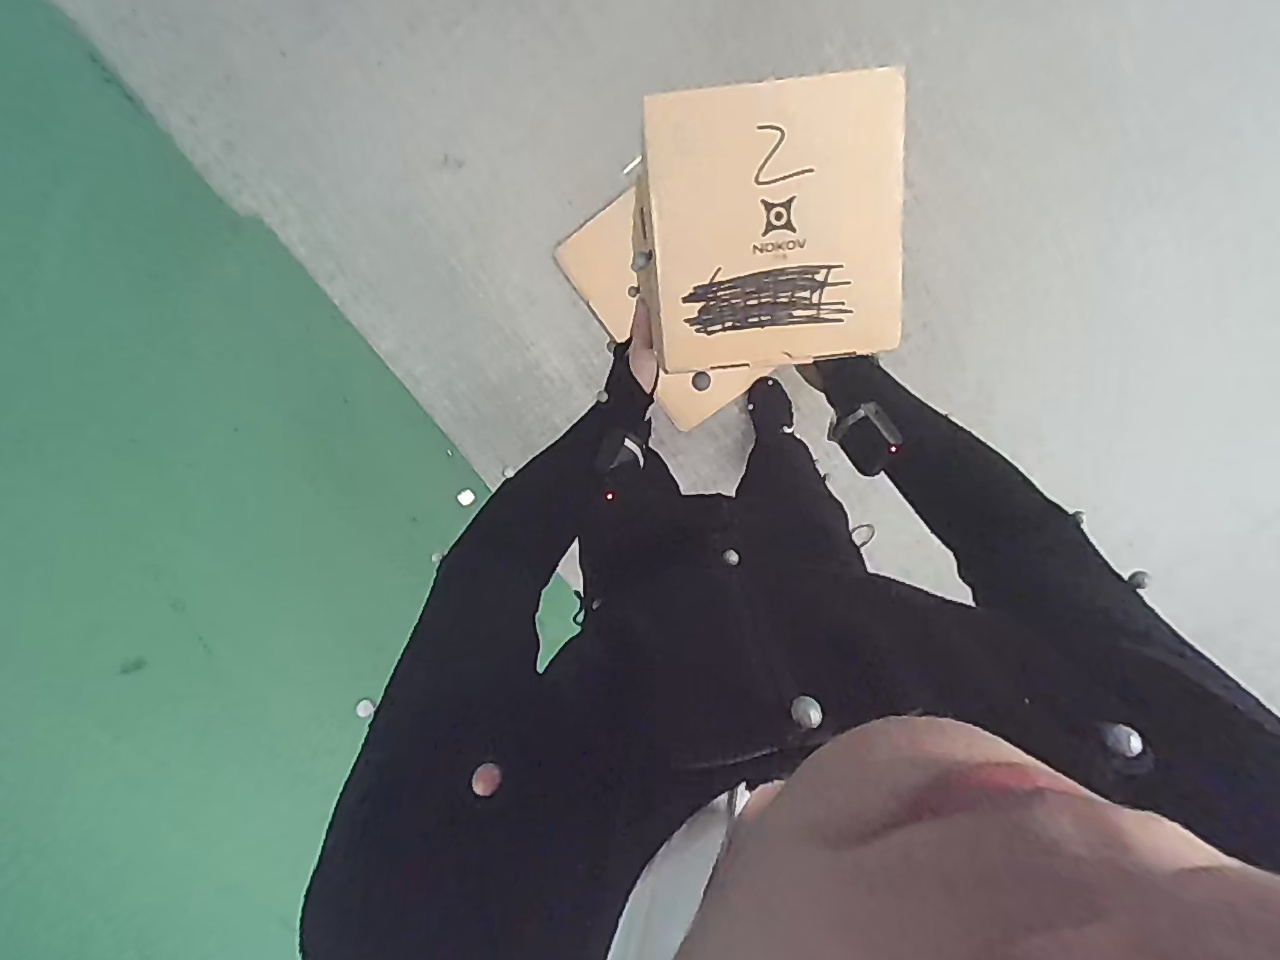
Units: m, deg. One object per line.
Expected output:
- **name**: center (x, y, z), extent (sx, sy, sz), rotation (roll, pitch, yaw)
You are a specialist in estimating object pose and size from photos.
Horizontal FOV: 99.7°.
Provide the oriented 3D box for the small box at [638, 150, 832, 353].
- **small box**: center (0.093, -0.235, 0.588), extent (0.179, 0.176, 0.168), rotation (-7, 105, 2)
